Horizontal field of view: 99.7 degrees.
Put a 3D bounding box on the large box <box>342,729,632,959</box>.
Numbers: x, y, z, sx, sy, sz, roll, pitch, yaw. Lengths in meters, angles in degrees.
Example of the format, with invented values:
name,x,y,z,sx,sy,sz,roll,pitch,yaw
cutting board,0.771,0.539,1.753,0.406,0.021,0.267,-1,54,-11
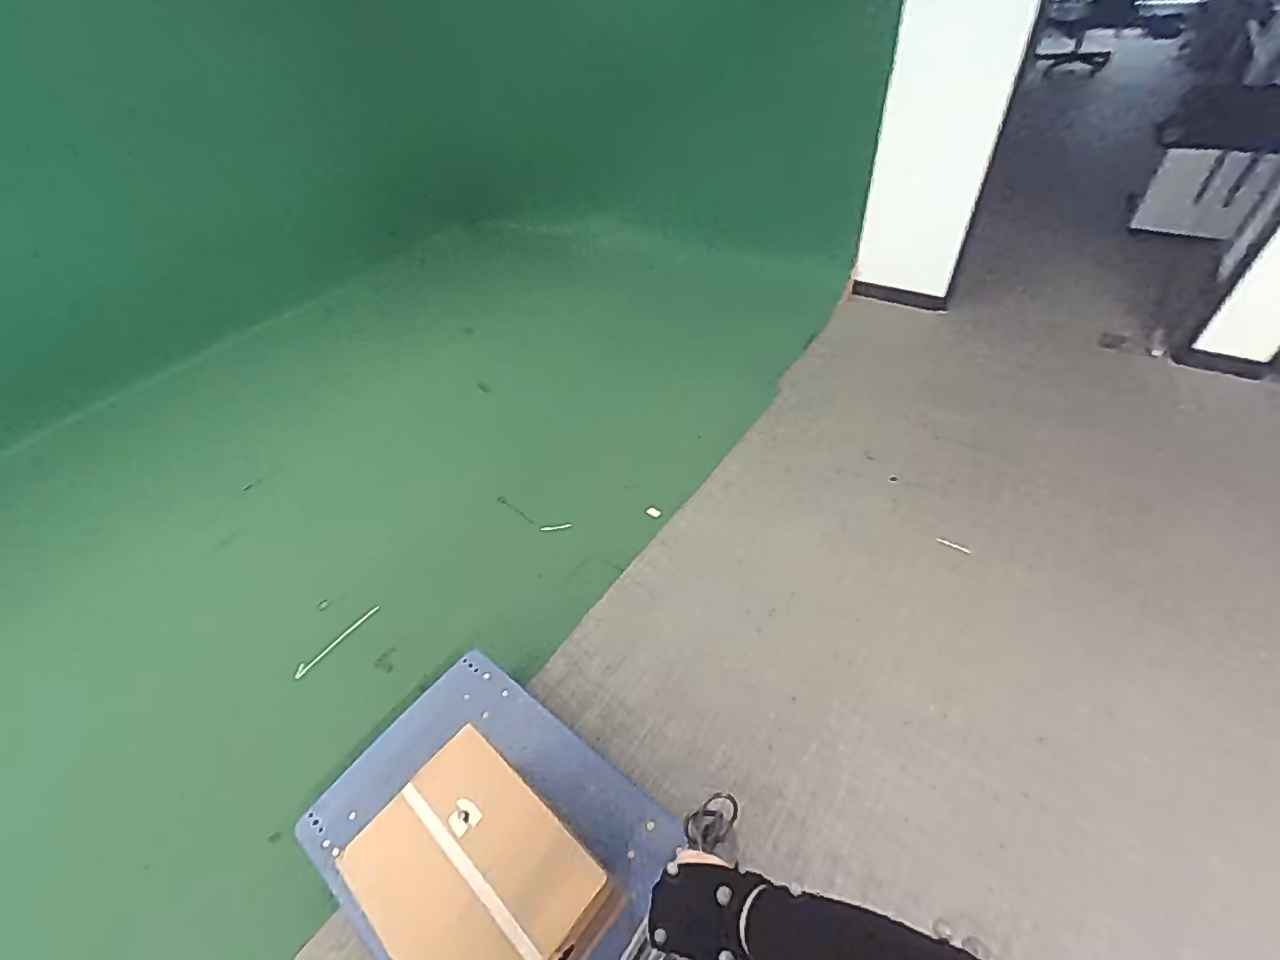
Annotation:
name,x,y,z,sx,sy,sz,roll,pitch,yaw
large box,-0.277,0.785,1.058,0.408,0.320,0.320,30,58,31
